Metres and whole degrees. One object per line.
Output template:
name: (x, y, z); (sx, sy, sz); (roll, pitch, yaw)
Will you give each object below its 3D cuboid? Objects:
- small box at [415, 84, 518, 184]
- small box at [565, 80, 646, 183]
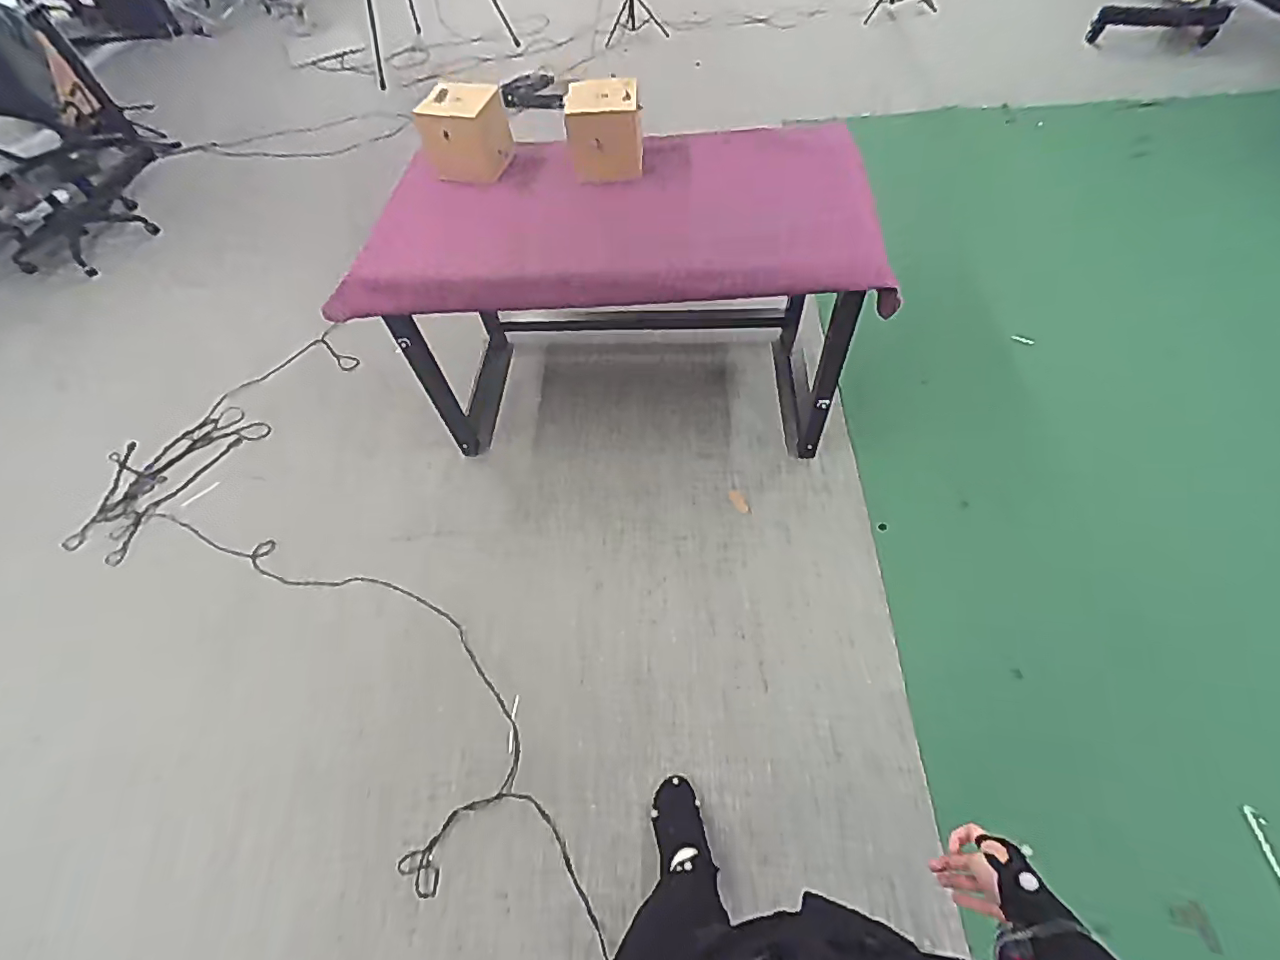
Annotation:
small box: (-0.447, -0.906, 1.422); (0.179, 0.176, 0.168); (11, 60, 11)
small box: (-0.081, -0.879, 1.374); (0.179, 0.176, 0.168); (-1, 59, 5)
